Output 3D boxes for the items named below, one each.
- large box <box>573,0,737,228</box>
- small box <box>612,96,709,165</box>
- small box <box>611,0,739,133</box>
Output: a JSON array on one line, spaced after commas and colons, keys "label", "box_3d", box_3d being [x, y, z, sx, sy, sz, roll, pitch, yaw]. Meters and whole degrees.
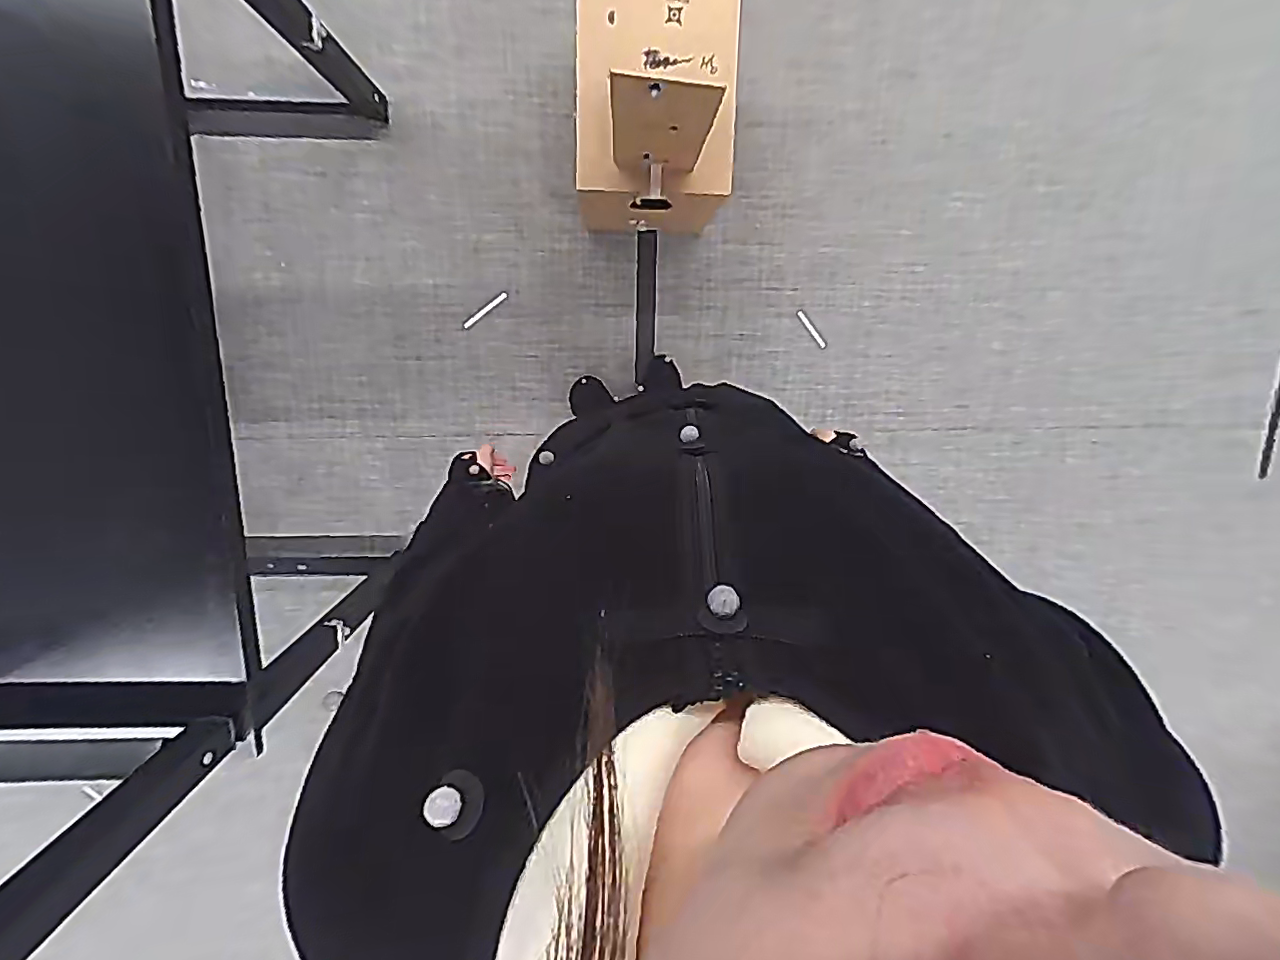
[{"label": "large box", "box_3d": [0.022, -0.800, 1.179, 0.320, 0.320, 0.408, 0, 101, -4]}, {"label": "small box", "box_3d": [0.038, -0.689, 0.954, 0.168, 0.176, 0.179, 4, 102, -3]}, {"label": "small box", "box_3d": [0.047, -0.652, 0.794, 0.168, 0.176, 0.179, 6, 101, -3]}]
